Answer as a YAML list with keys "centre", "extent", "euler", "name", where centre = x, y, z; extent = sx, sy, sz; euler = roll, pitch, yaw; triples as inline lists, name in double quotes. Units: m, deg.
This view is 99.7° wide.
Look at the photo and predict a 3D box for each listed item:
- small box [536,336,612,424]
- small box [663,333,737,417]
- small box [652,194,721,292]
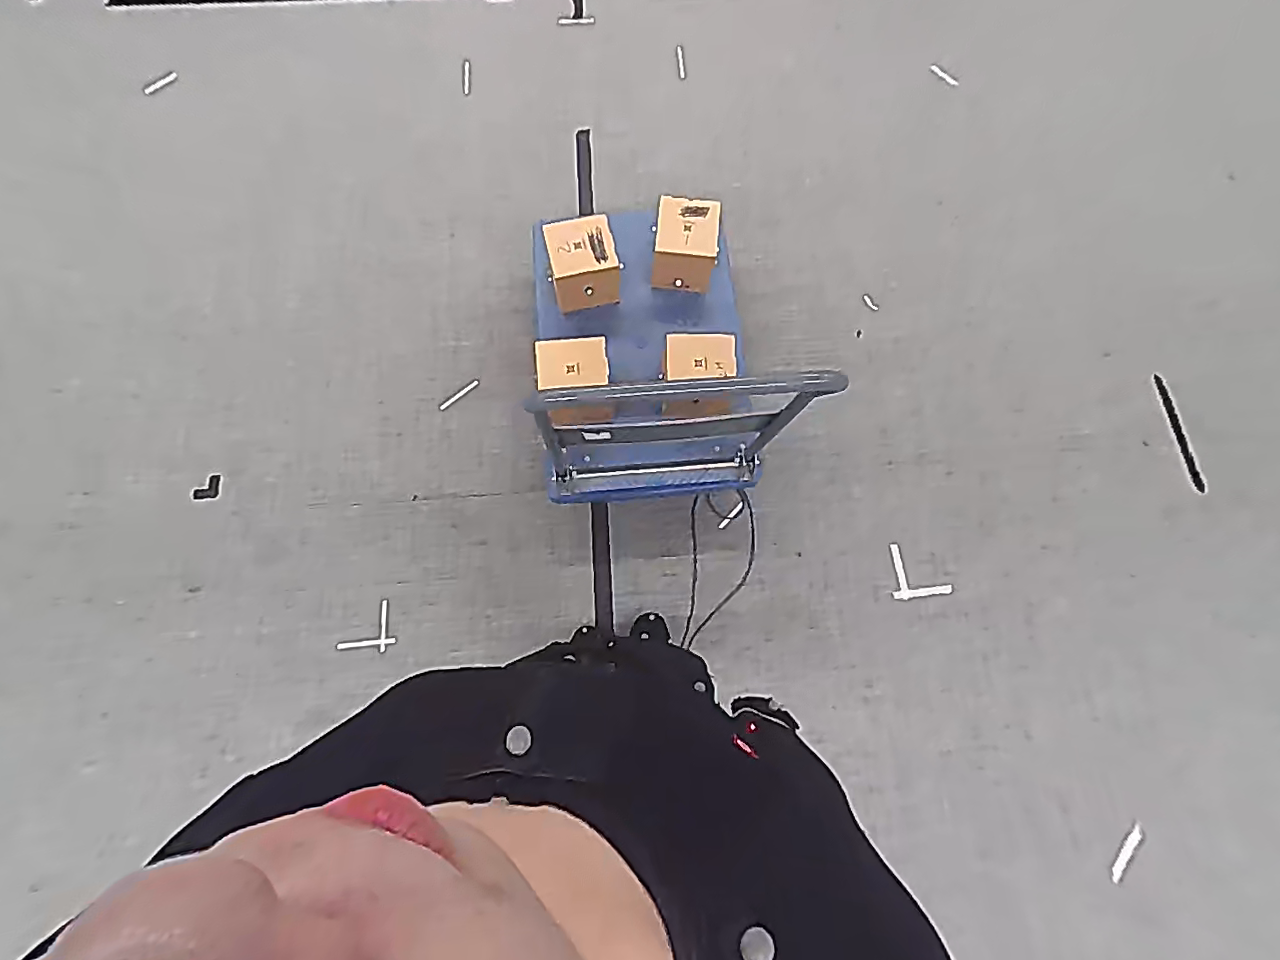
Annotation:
- centre: [-0.167, -0.252, 1.397]
  extent: [0.179, 0.176, 0.168]
  euler: [-6, 76, -5]
  name: "small box"
- centre: [0.150, -0.269, 1.412]
  extent: [0.179, 0.176, 0.168]
  euler: [0, 76, -2]
  name: "small box"
- centre: [0.125, -0.658, 1.511]
  extent: [0.168, 0.176, 0.179]
  euler: [6, 76, 0]
  name: "small box"
